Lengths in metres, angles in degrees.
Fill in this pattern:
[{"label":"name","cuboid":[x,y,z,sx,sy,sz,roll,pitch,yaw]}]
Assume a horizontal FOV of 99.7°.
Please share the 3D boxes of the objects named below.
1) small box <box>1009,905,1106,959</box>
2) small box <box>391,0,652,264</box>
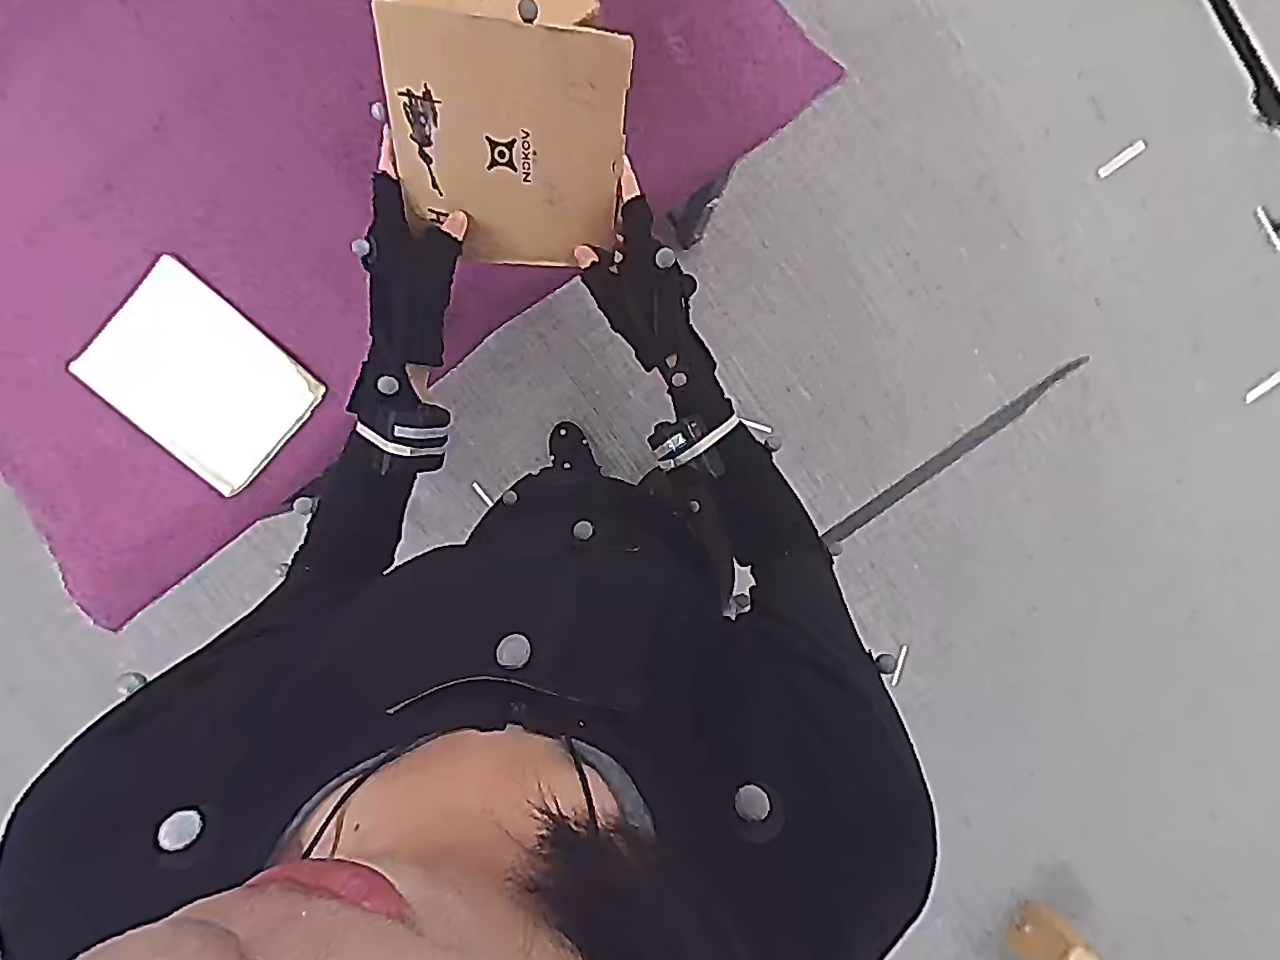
[{"label":"small box","cuboid":[1.277,1.444,1.629,0.179,0.176,0.168,34,92,-5]},{"label":"small box","cuboid":[-0.102,-0.304,0.468,0.179,0.176,0.168,-1,130,-14]}]
